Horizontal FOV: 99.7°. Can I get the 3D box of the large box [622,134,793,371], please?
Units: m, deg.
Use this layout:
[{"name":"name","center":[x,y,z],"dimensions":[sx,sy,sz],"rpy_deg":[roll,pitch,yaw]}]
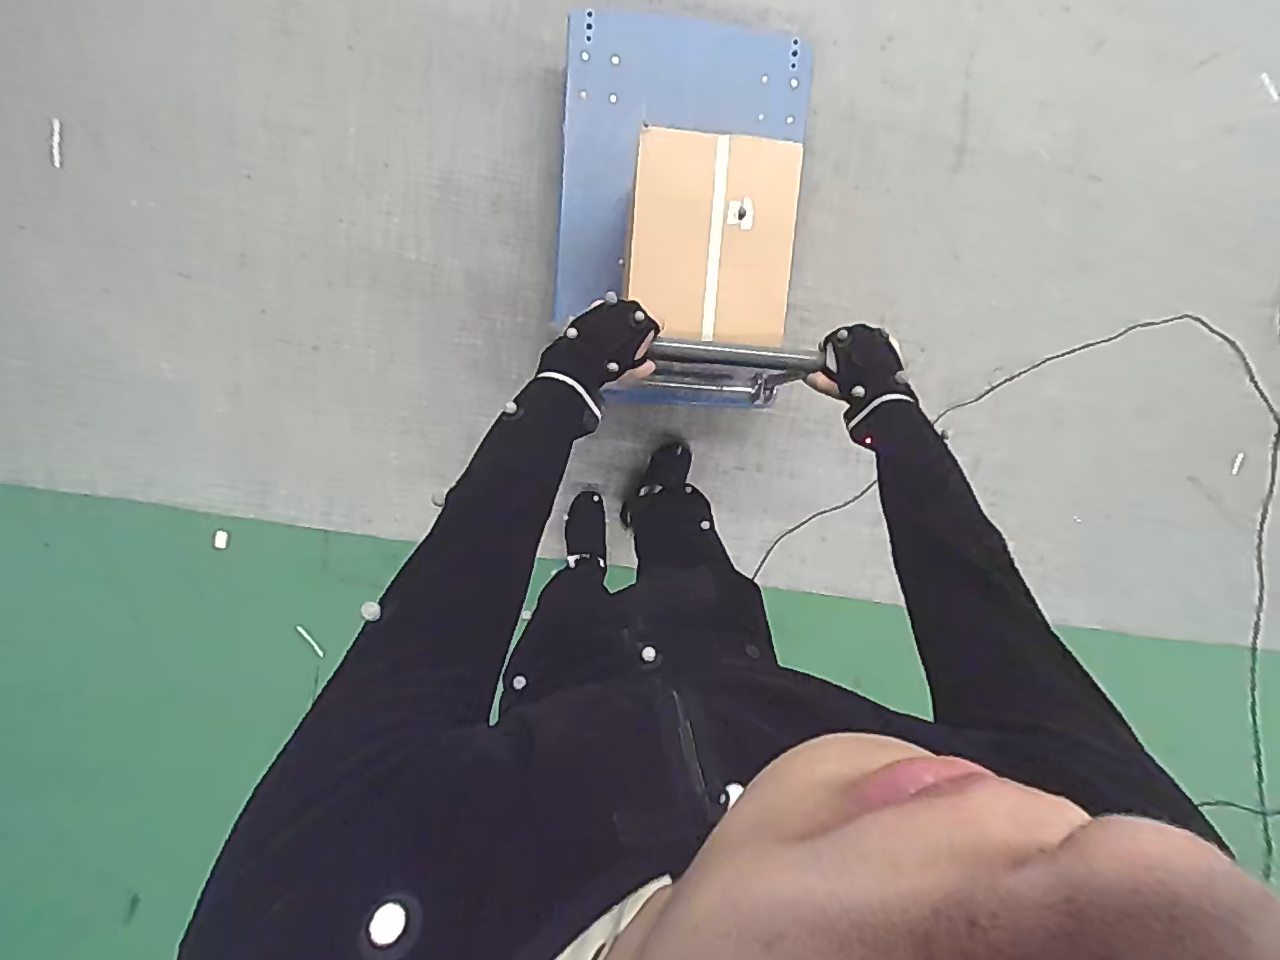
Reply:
[{"name":"large box","center":[0.122,-0.458,1.185],"dimensions":[0.320,0.320,0.408],"rpy_deg":[3,96,-6]}]
